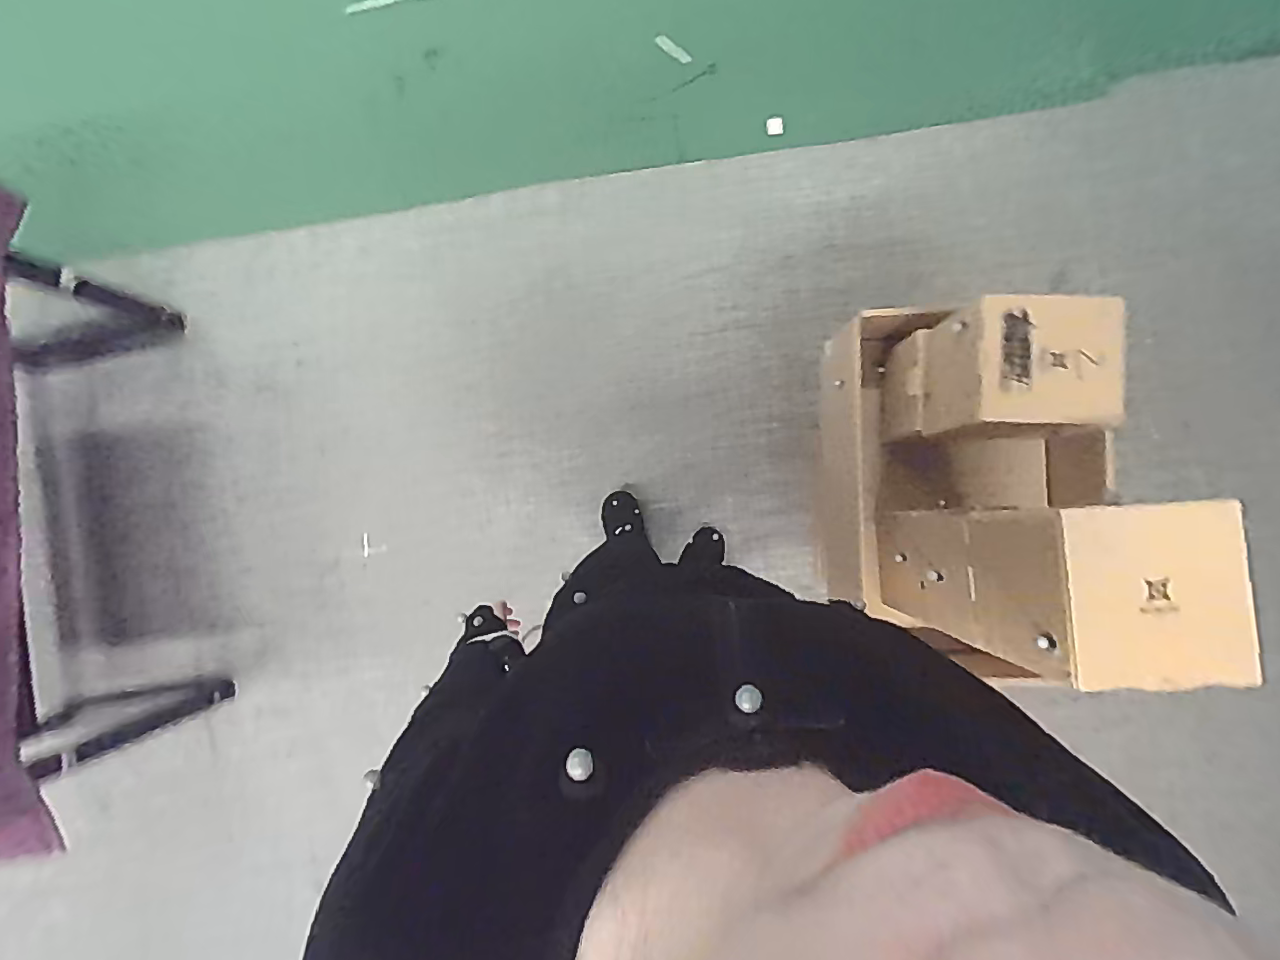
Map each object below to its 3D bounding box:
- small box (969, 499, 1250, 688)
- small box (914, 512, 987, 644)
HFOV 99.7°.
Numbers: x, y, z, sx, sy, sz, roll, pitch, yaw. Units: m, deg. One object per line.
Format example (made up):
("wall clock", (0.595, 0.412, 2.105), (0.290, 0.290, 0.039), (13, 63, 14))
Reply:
("small box", (0.494, 0.114, 0.599), (0.168, 0.176, 0.179), (-3, 87, 3))
("small box", (0.506, 0.128, 0.761), (0.179, 0.176, 0.168), (-4, 87, 4))
